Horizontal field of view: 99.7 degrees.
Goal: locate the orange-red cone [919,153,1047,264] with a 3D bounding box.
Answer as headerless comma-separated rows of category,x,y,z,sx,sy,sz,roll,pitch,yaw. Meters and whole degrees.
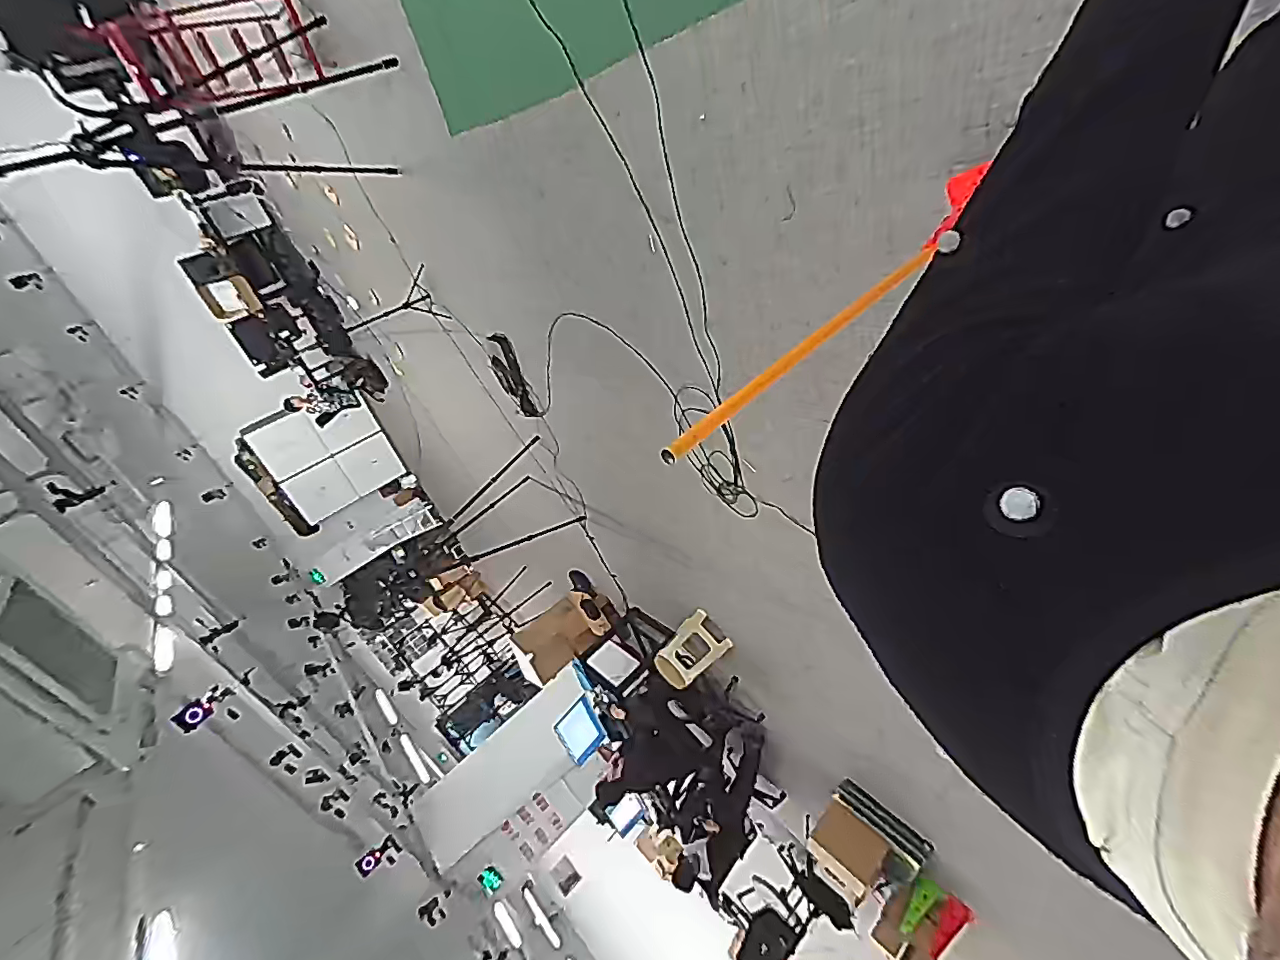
orange-red cone,0.749,-0.577,1.250,0.199,0.360,0.198,5,126,57
